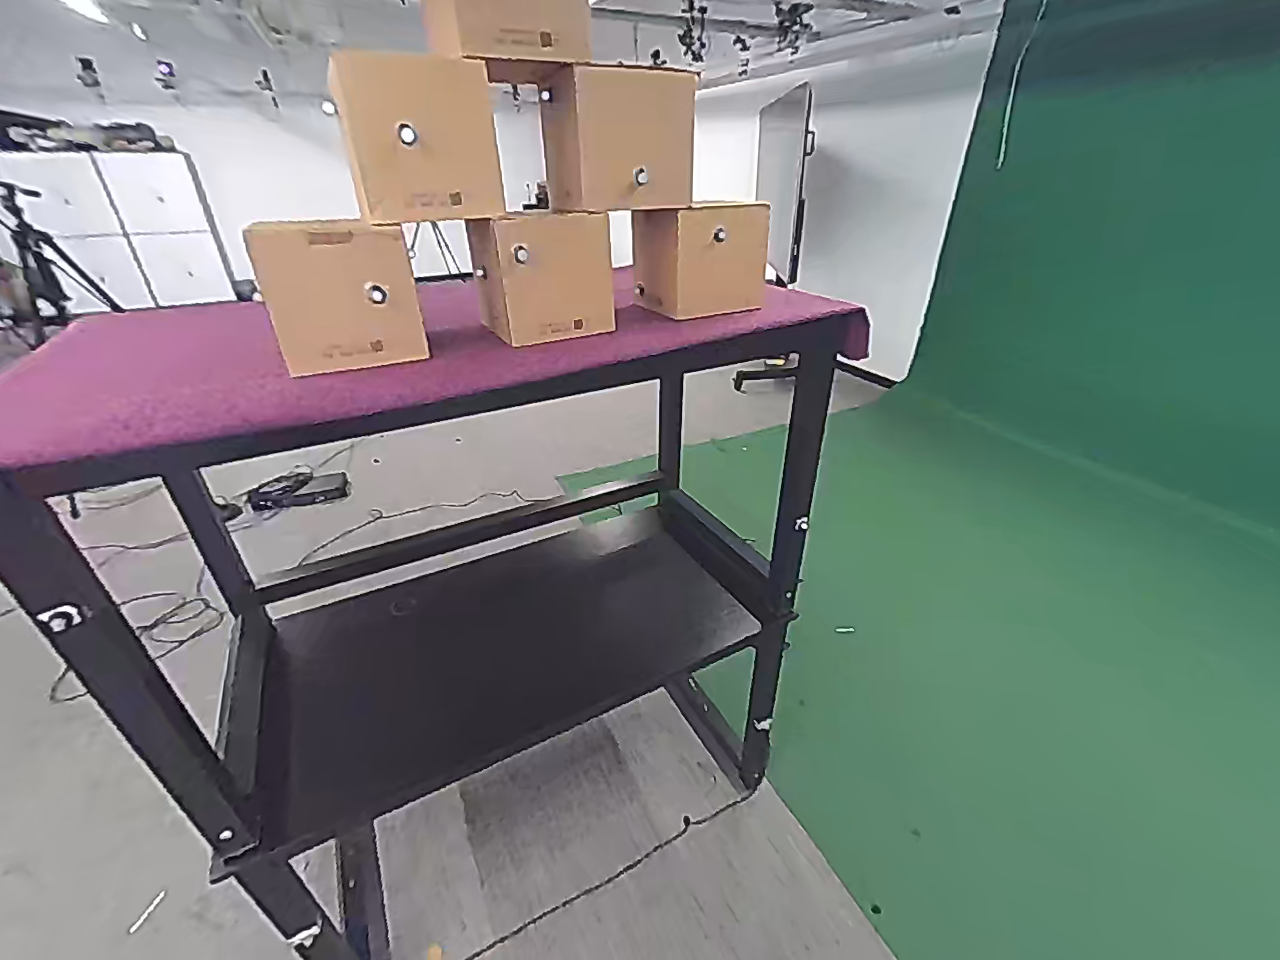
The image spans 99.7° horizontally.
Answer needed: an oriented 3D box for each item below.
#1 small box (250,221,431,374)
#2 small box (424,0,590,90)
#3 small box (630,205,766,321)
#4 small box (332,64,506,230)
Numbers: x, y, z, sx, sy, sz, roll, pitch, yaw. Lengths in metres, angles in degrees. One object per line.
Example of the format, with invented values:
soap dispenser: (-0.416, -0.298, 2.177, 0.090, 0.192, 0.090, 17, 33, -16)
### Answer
small box: (-0.389, -0.247, 0.724, 0.168, 0.176, 0.179, -14, 32, -23)
small box: (-0.171, -0.601, 0.678, 0.168, 0.176, 0.179, -16, 32, -24)
small box: (0.098, -0.383, 0.947, 0.179, 0.176, 0.168, -15, 33, -23)
small box: (-0.285, -0.423, 0.706, 0.168, 0.176, 0.179, -16, 32, -23)
